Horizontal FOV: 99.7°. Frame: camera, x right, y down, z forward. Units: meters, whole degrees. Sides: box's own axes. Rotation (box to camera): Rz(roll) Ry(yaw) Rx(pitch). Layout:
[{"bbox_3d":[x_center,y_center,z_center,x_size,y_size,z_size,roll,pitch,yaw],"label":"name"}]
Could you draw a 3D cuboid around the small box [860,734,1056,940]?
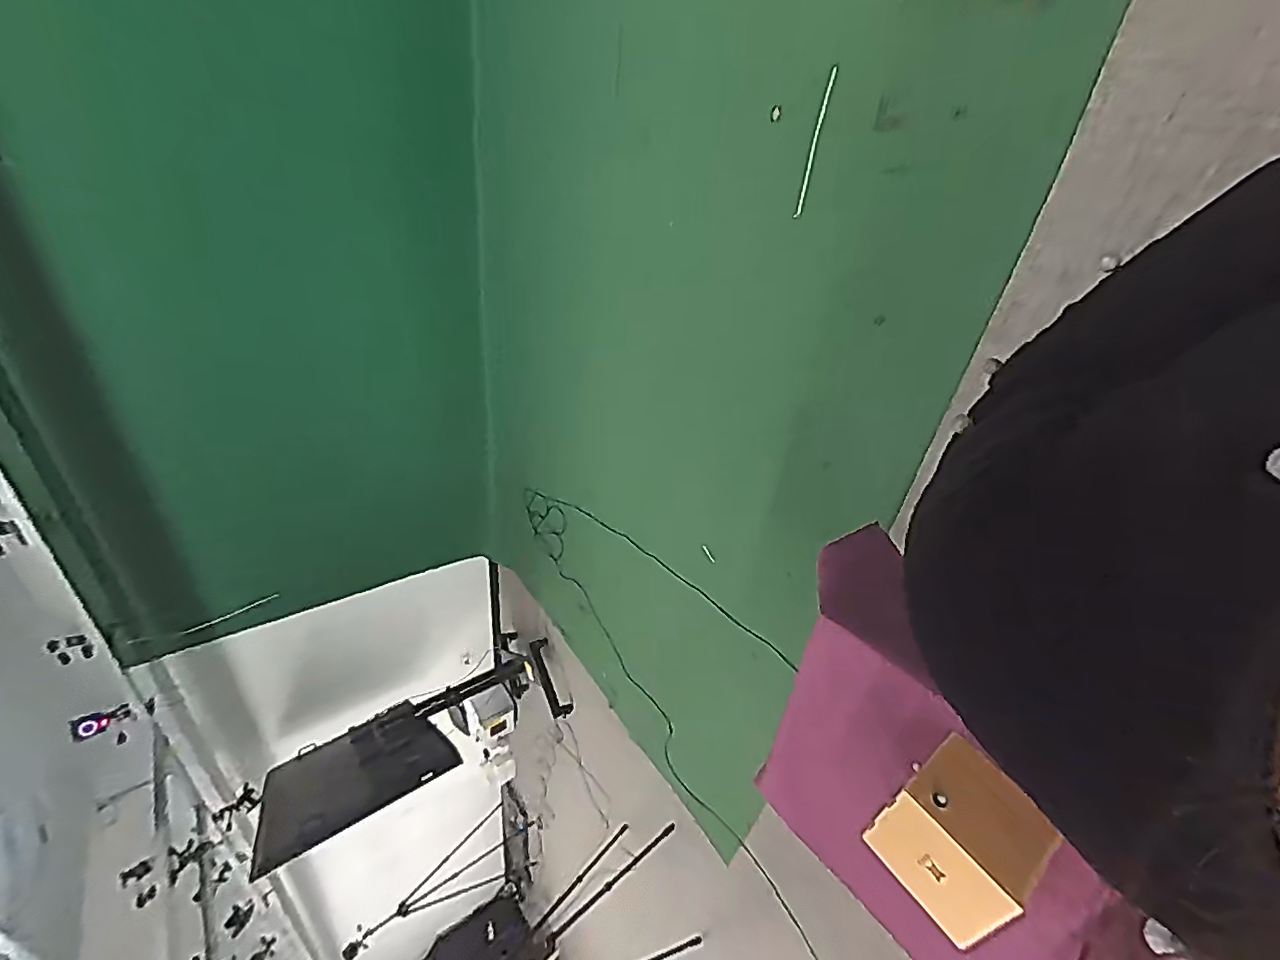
[{"bbox_3d":[0.485,0.538,0.832,0.179,0.176,0.168,43,136,38],"label":"small box"}]
